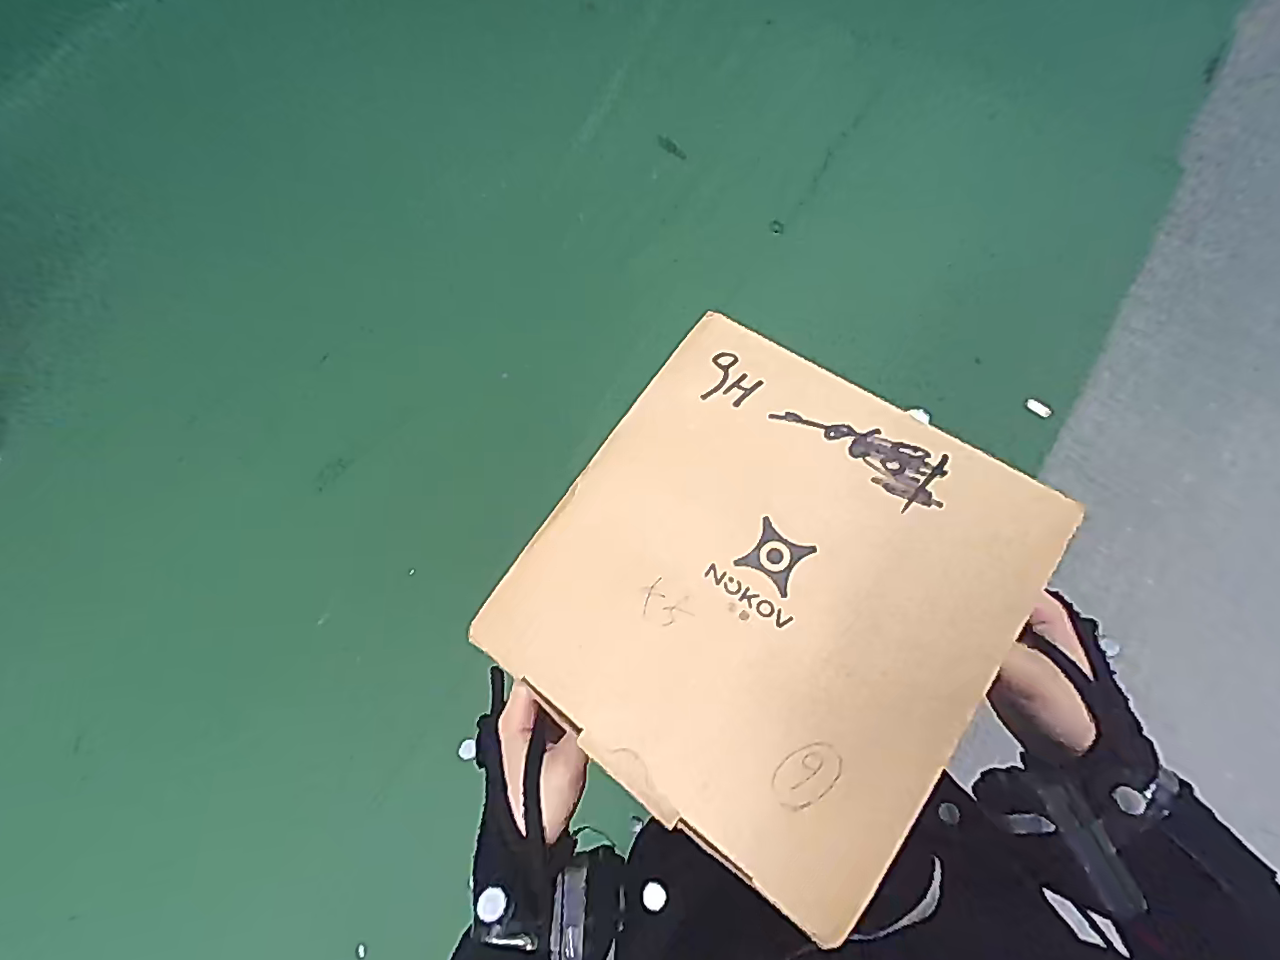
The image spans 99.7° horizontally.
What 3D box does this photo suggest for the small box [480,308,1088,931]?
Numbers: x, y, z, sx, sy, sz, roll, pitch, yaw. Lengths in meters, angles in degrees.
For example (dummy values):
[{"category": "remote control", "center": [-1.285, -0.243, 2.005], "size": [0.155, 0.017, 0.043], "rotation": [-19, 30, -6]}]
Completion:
[{"category": "small box", "center": [0.061, 0.057, 0.282], "size": [0.168, 0.176, 0.179], "rotation": [35, 83, 18]}]
